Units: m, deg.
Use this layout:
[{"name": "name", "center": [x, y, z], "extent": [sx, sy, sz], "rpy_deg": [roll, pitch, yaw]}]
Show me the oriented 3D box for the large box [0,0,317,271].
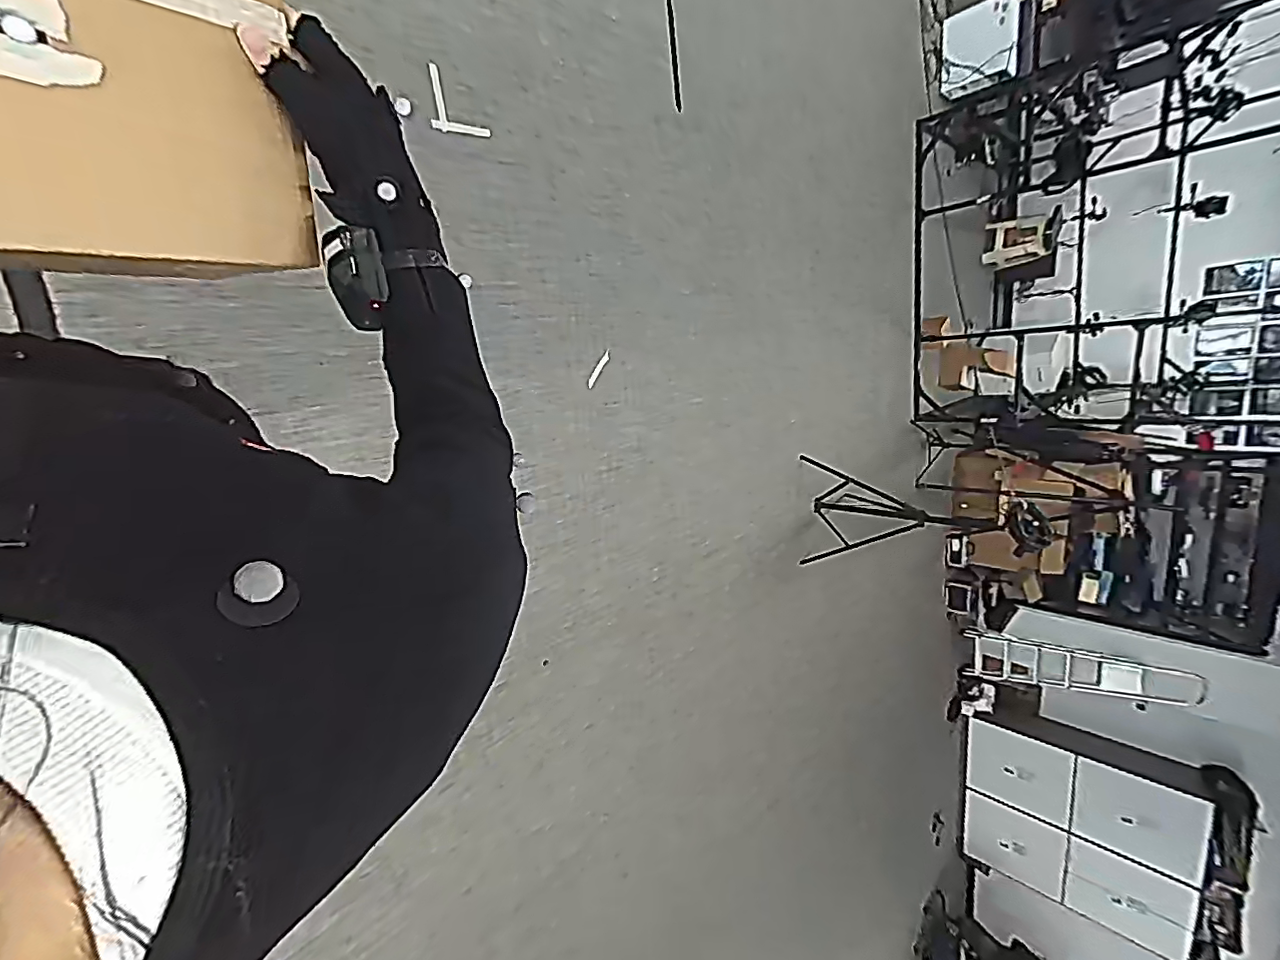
[{"name": "large box", "center": [-0.506, -0.309, 0.348], "extent": [0.408, 0.320, 0.320], "rpy_deg": [-19, 117, -45]}]
